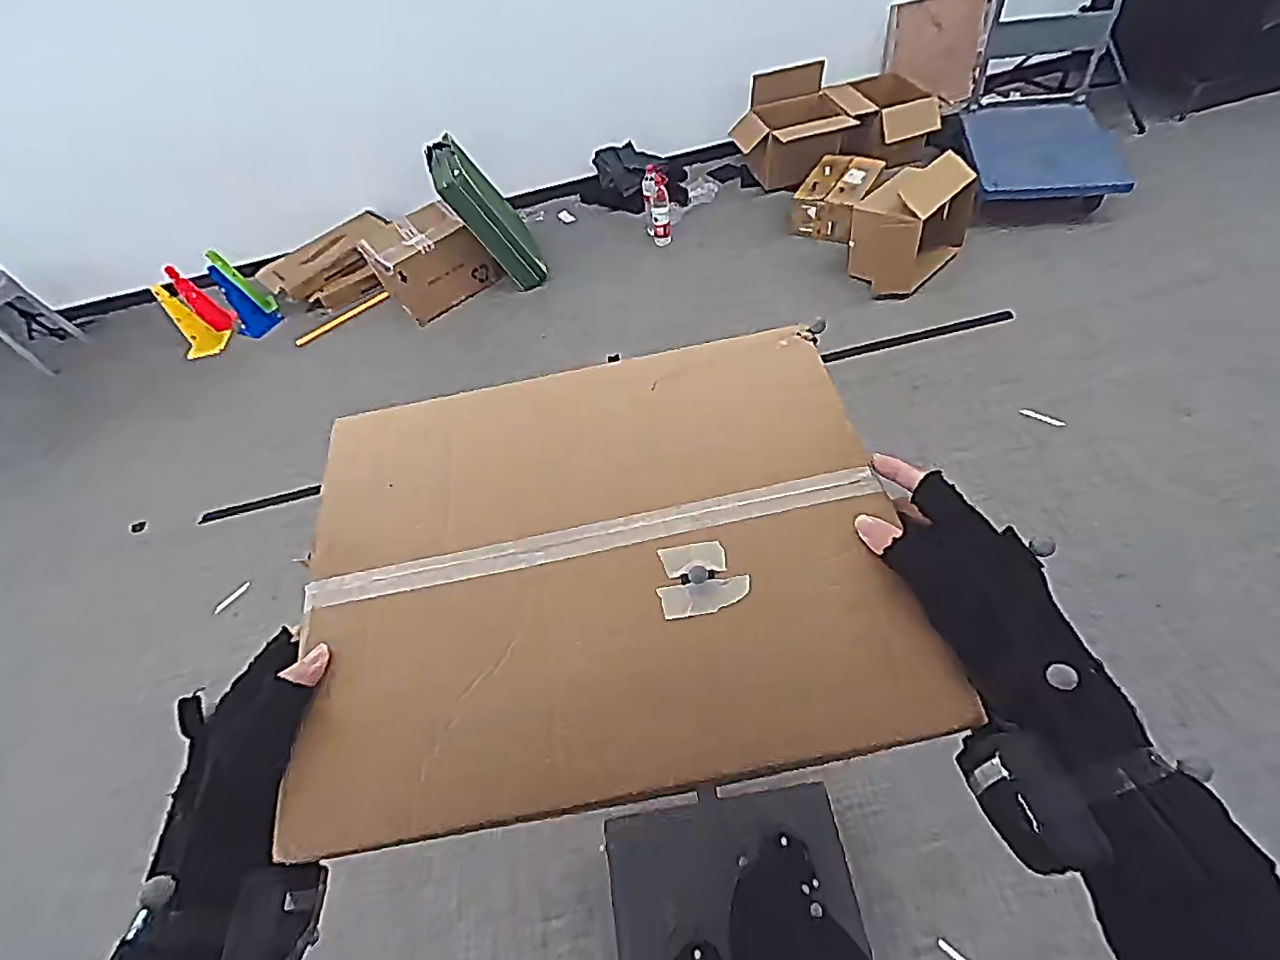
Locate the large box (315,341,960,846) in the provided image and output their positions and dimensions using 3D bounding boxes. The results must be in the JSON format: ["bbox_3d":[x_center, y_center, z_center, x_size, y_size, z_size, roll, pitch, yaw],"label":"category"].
[{"bbox_3d":[-0.013,0.121,0.523,0.408,0.320,0.320,-12,60,0],"label":"large box"}]
